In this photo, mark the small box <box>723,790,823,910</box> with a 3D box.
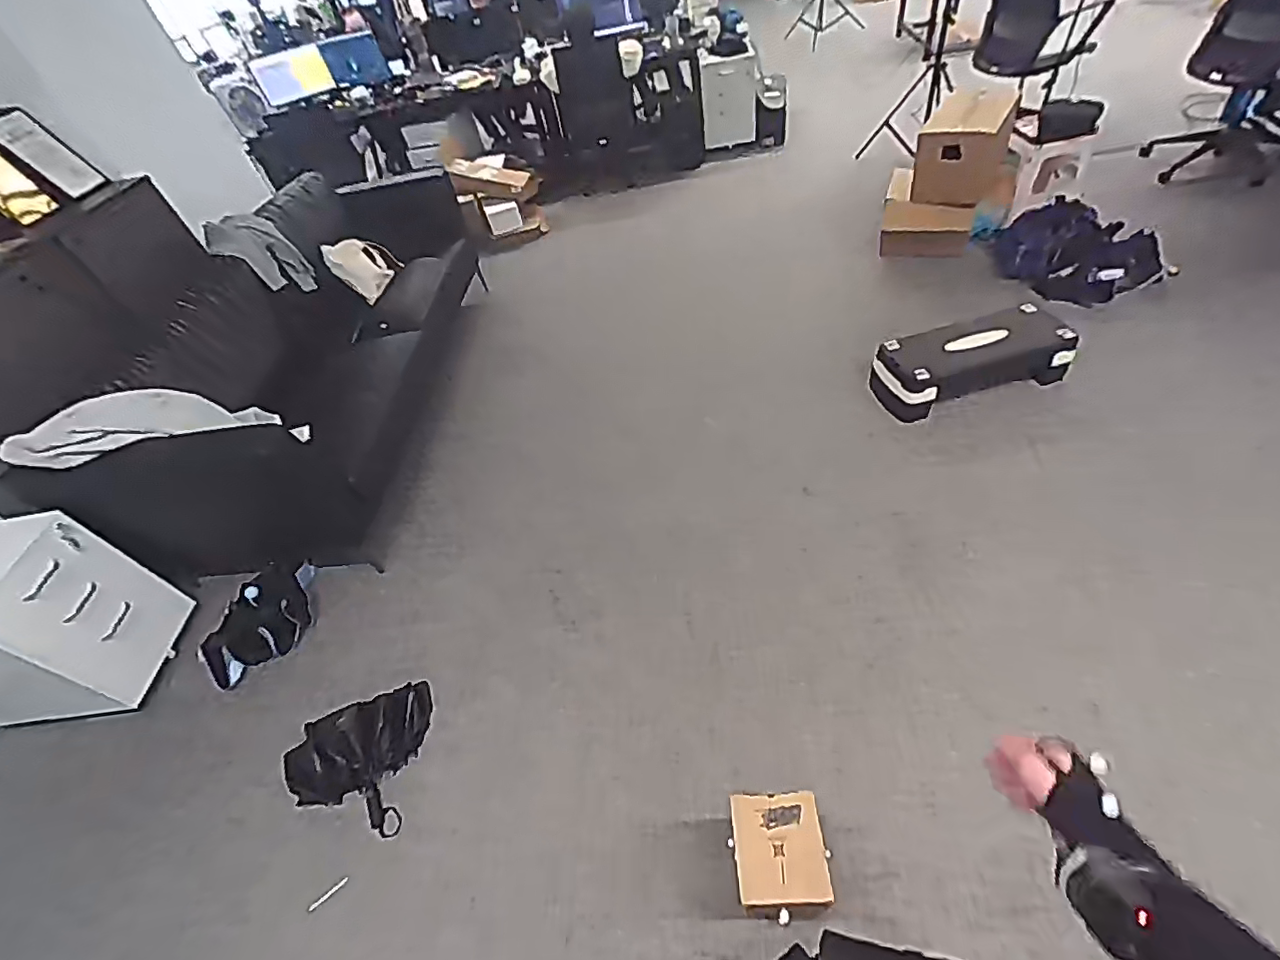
[{"bbox_3d":[0.258,0.739,1.078,0.168,0.176,0.179,-7,48,7],"label":"small box"}]
